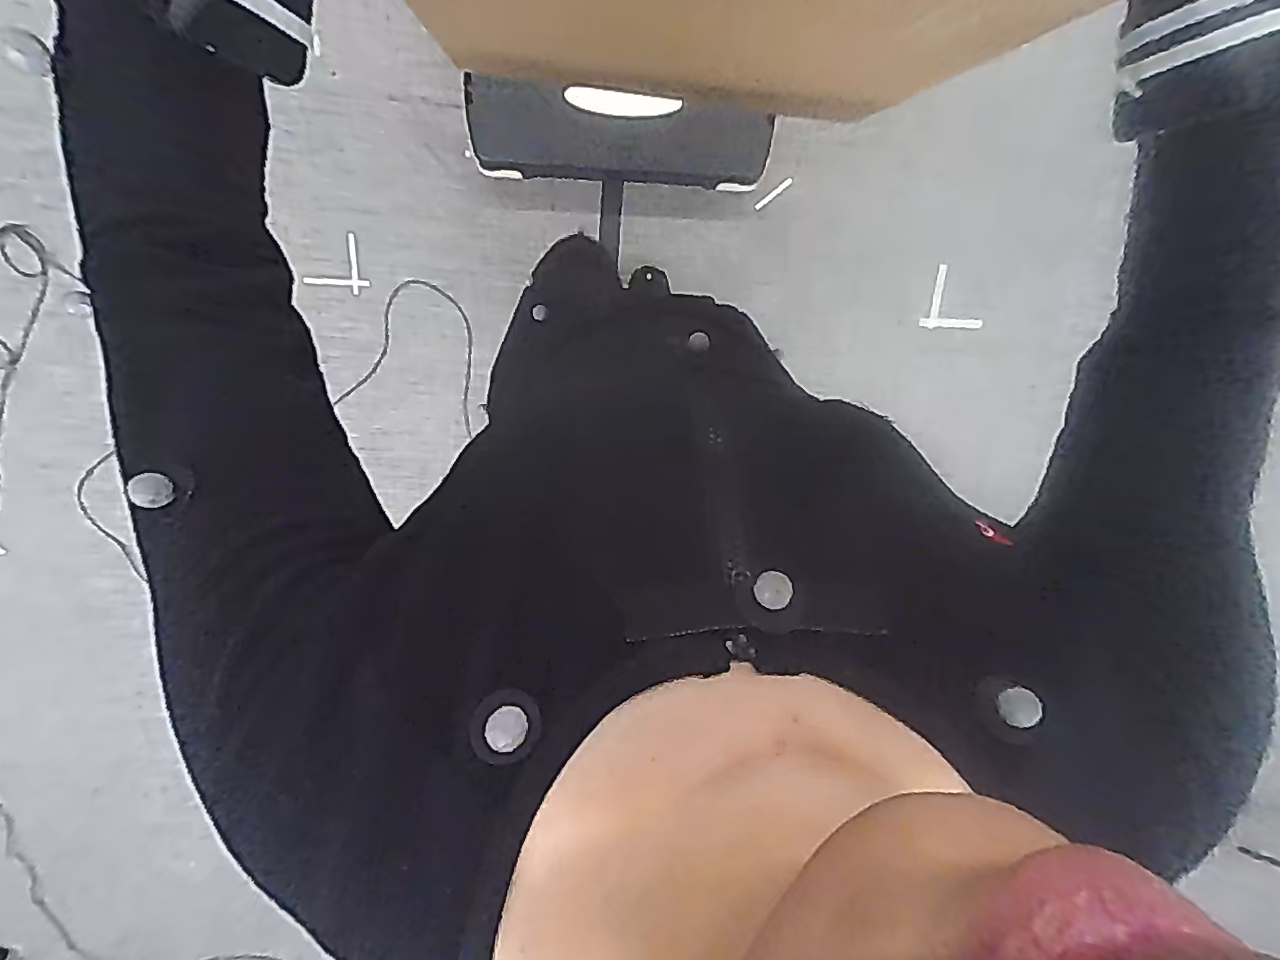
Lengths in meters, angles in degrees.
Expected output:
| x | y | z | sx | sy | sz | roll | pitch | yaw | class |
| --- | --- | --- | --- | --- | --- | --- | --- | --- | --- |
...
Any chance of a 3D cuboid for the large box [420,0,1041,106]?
| x | y | z | sx | sy | sz | roll | pitch | yaw | class |
| --- | --- | --- | --- | --- | --- | --- | --- | --- | --- |
| 0.047 | -0.470 | 0.342 | 0.408 | 0.320 | 0.320 | 2 | 114 | -7 | large box |
